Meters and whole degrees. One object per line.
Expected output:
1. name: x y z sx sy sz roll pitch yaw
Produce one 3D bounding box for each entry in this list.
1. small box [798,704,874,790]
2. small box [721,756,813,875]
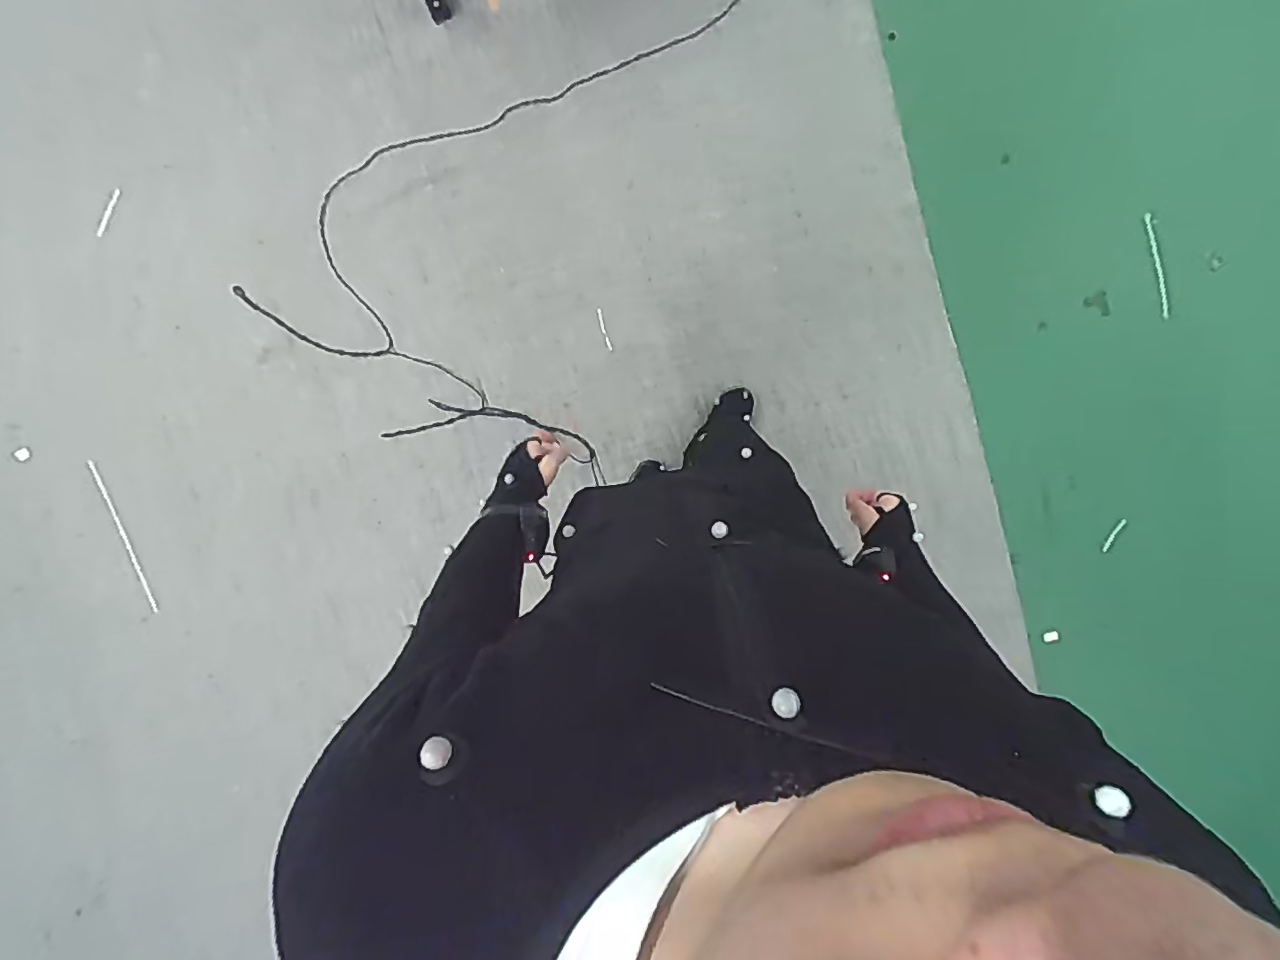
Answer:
1. small box: 0.574 0.774 1.562 0.168 0.176 0.179 -16 95 -1
2. small box: 0.320 0.857 1.396 0.168 0.176 0.179 -16 95 -3
